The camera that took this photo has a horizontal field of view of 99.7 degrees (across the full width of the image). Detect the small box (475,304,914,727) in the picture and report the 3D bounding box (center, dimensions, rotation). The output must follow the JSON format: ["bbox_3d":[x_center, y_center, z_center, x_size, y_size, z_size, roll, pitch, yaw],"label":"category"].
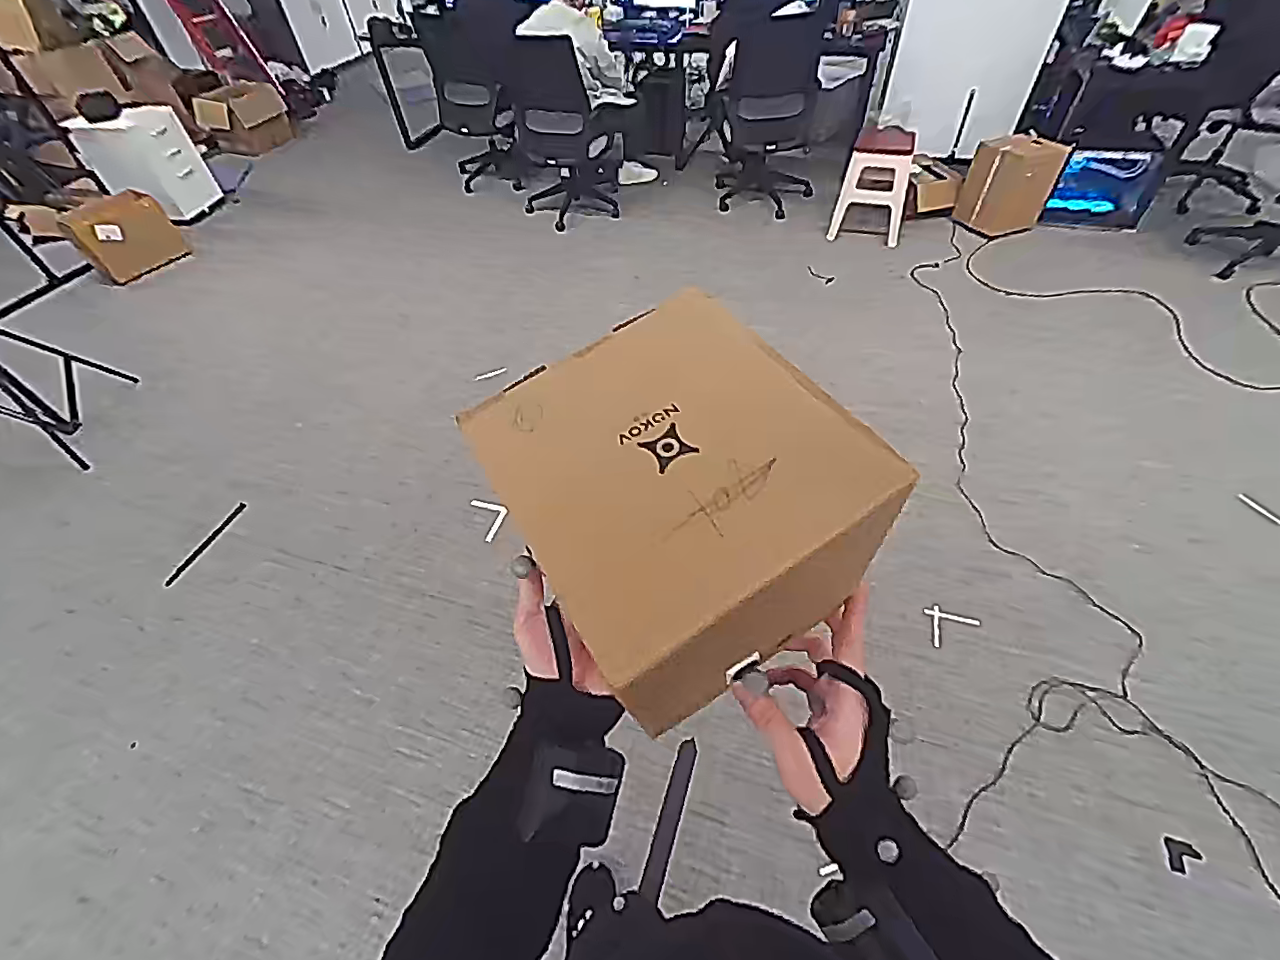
[{"bbox_3d":[0.026,0.029,0.348,0.168,0.176,0.179,-32,60,-11],"label":"small box"}]
